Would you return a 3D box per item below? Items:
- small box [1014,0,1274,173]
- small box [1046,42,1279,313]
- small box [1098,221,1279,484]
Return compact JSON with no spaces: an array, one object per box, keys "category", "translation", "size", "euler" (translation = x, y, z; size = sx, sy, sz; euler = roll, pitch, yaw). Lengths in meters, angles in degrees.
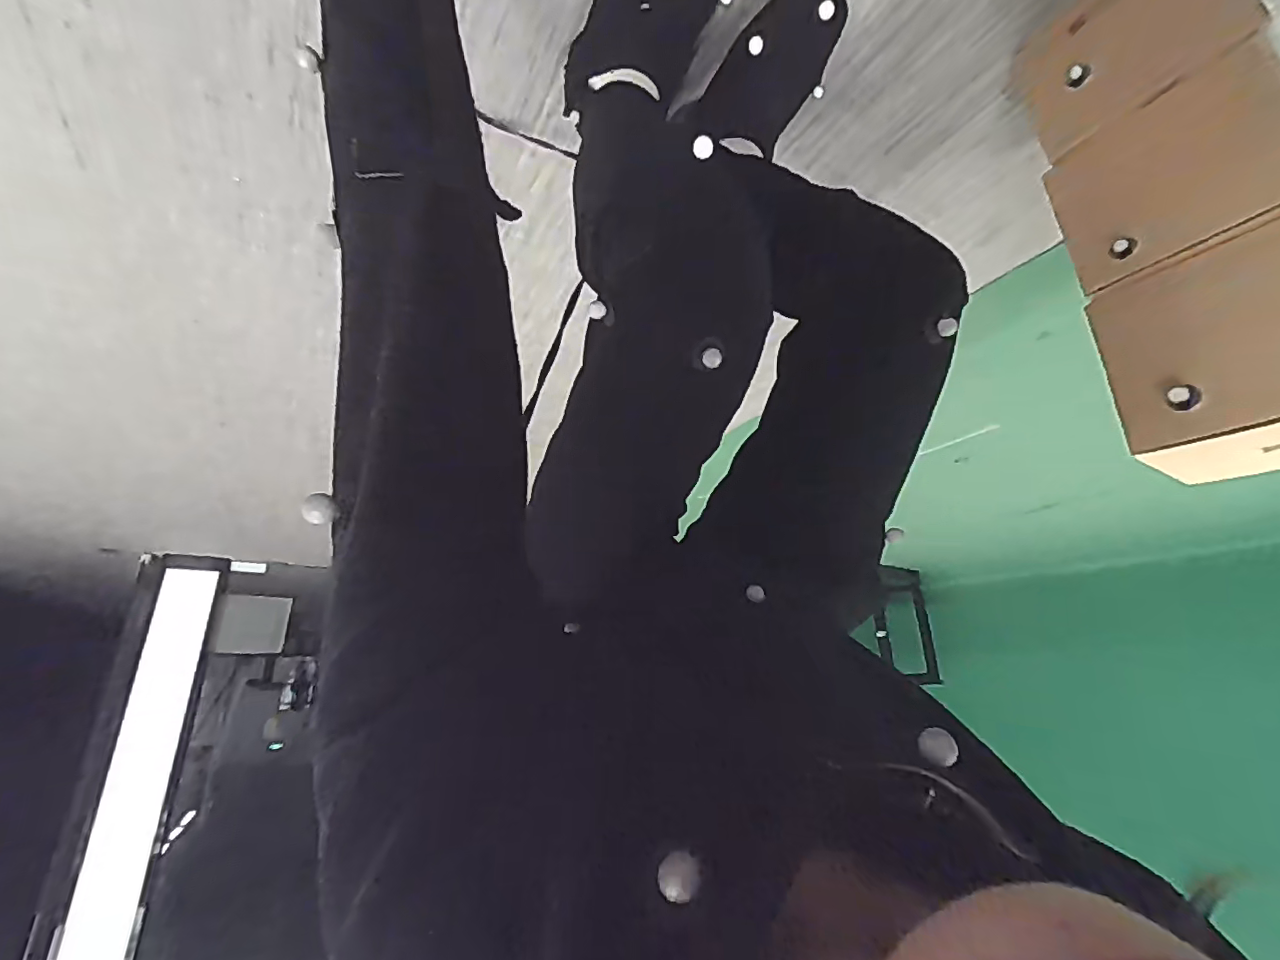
[{"category":"small box","translation":[0.549,-0.424,0.593],"size":[0.179,0.176,0.168],"euler":[12,156,-33]},{"category":"small box","translation":[0.556,-0.271,0.541],"size":[0.168,0.176,0.179],"euler":[11,158,-30]},{"category":"small box","translation":[0.565,-0.111,0.499],"size":[0.168,0.176,0.179],"euler":[11,157,-31]}]
